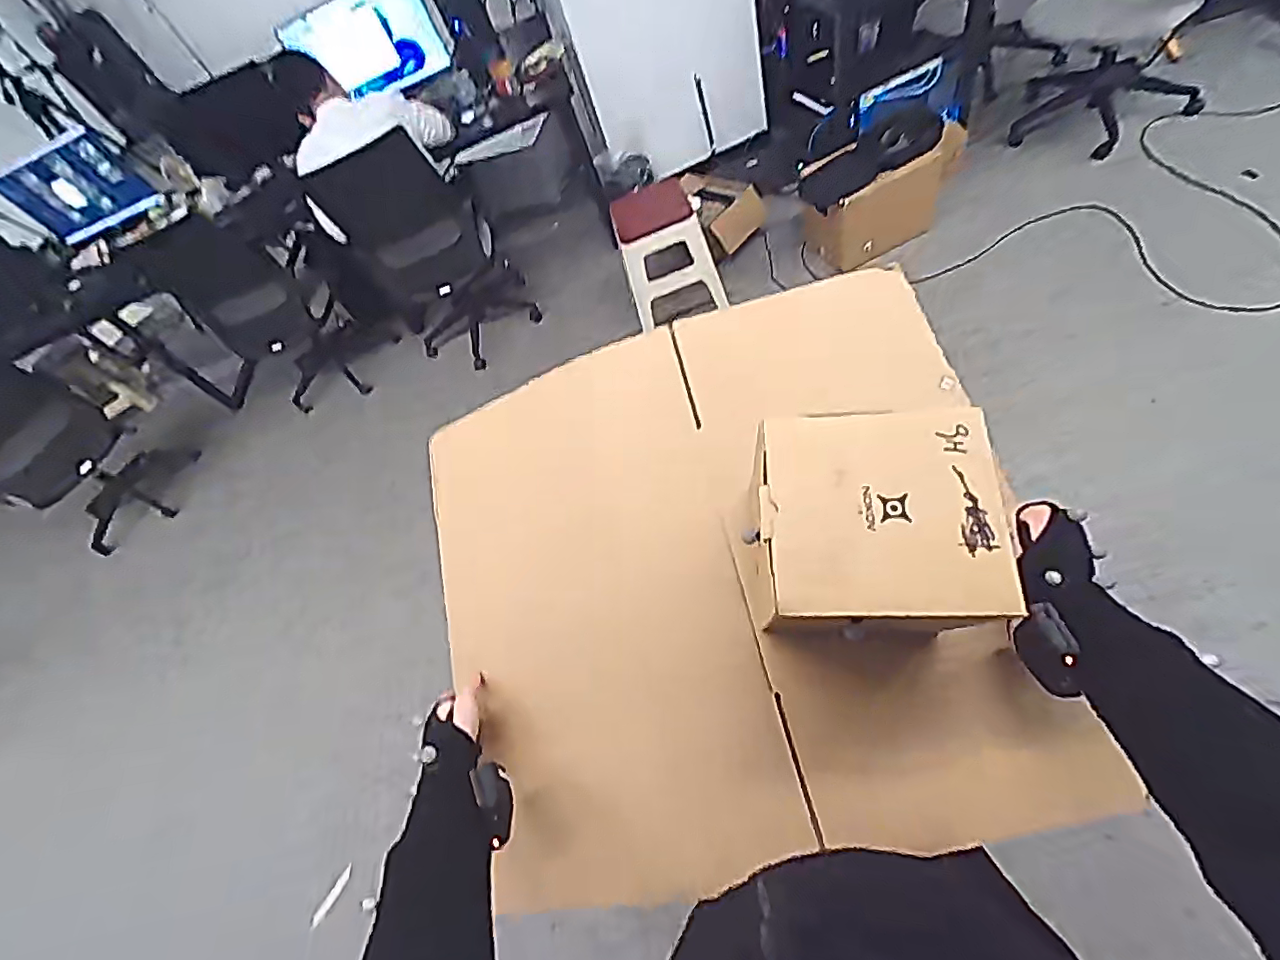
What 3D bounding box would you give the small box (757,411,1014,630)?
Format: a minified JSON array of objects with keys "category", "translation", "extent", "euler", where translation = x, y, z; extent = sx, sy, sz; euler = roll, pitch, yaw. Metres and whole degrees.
[{"category":"small box","translation":[0.201,0.050,0.504],"extent":[0.179,0.176,0.168],"euler":[-2,70,9]}]
